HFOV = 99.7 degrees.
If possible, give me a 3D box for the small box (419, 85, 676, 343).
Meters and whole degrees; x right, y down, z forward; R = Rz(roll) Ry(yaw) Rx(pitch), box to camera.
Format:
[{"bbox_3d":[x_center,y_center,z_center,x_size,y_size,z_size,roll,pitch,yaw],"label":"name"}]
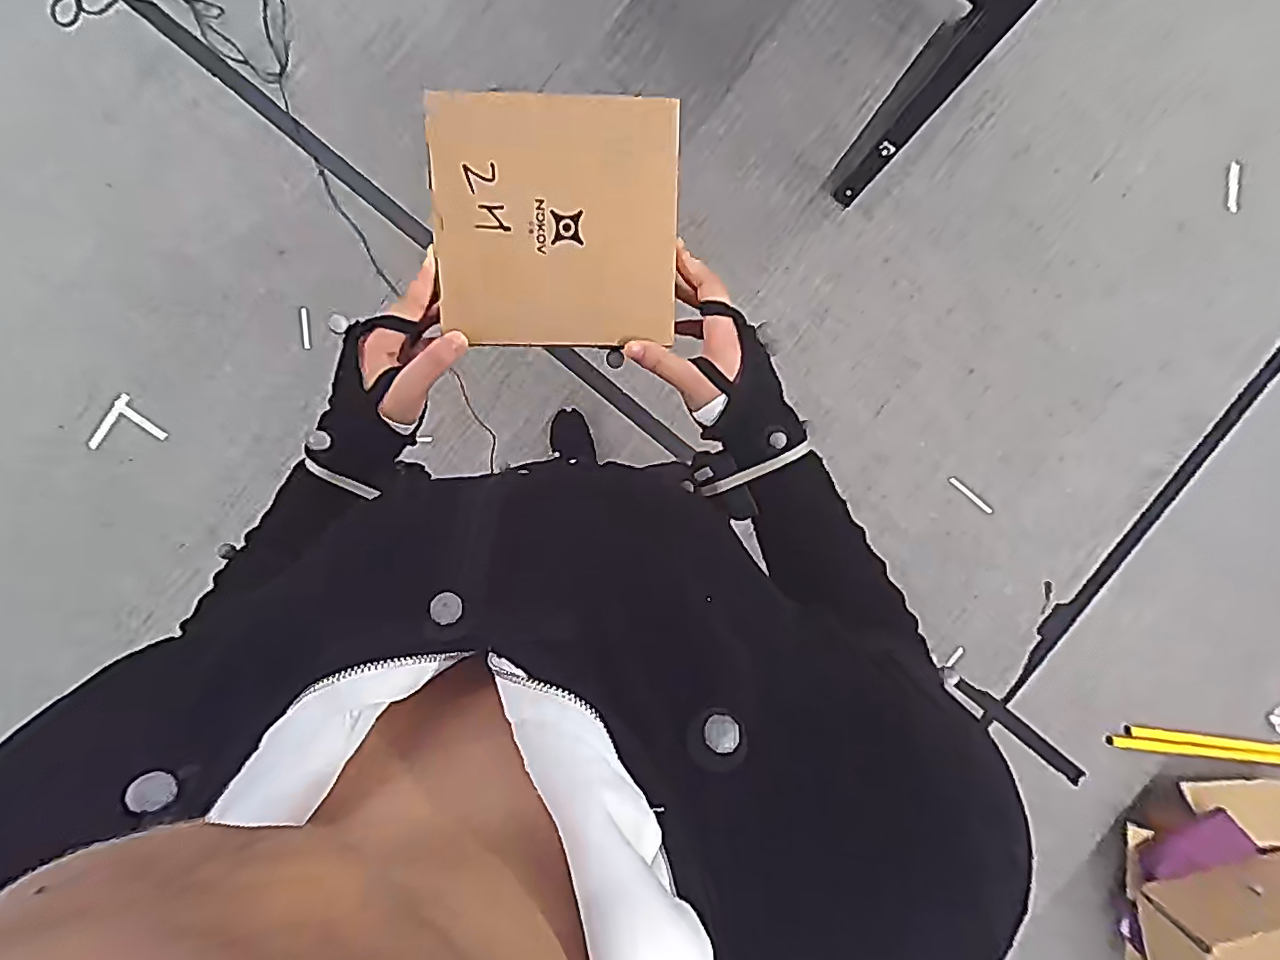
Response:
[{"bbox_3d":[-0.067,-0.204,0.462,0.179,0.176,0.168,0,104,-2],"label":"small box"}]
